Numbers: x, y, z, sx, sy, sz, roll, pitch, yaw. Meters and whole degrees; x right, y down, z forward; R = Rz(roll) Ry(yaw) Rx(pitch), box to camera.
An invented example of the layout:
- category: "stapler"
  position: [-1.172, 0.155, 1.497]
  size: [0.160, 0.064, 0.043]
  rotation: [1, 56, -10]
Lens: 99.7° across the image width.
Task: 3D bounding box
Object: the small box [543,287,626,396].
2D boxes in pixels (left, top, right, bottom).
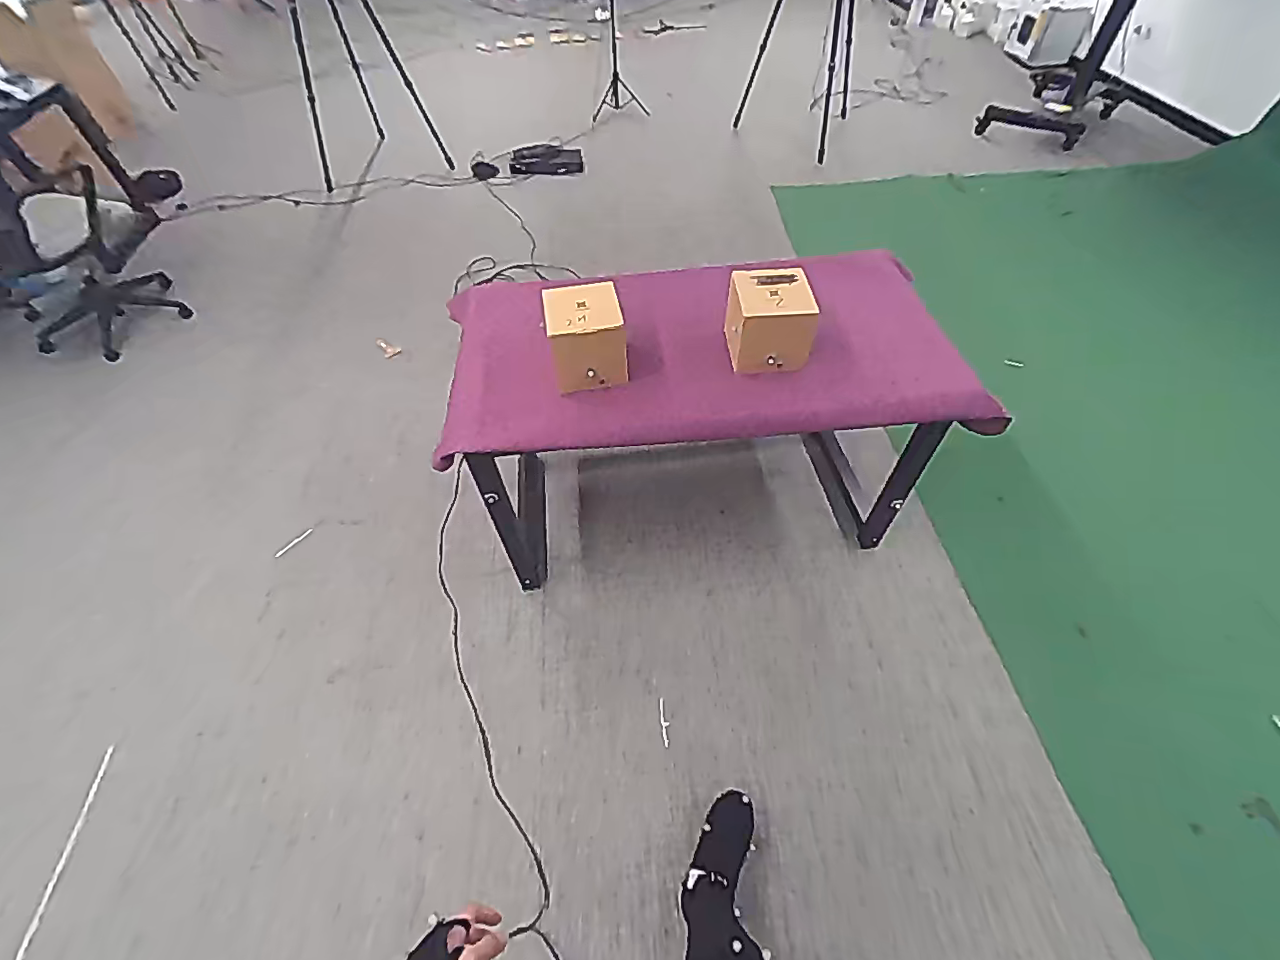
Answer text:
- category: "small box"
  position: [-0.127, -0.318, 1.245]
  size: [0.168, 0.176, 0.179]
  rotation: [-9, 52, -5]
